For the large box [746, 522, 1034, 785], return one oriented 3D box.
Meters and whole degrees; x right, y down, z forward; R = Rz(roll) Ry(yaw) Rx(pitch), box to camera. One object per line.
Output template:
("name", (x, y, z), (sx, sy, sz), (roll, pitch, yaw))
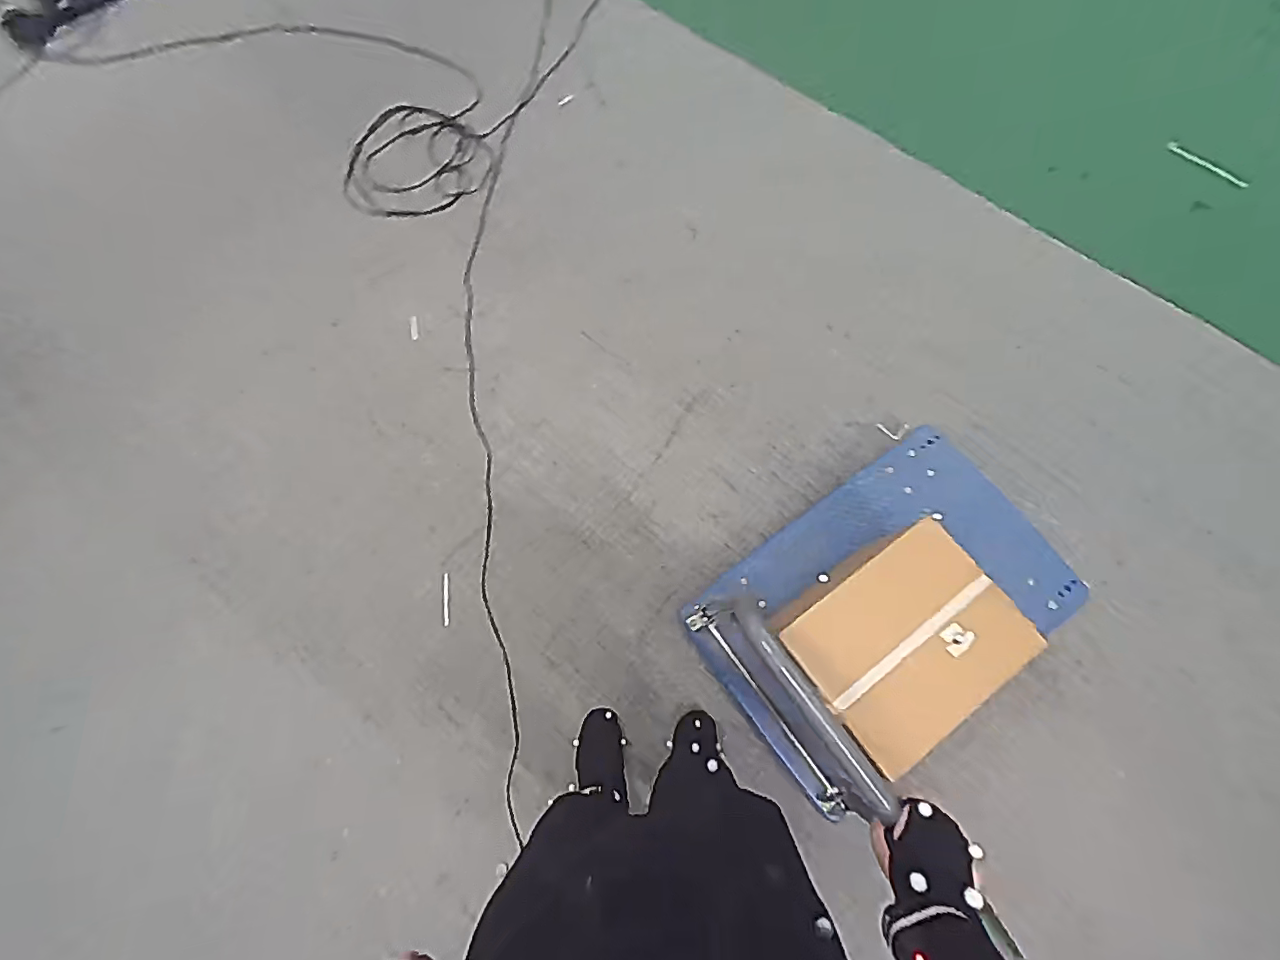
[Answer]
("large box", (0.497, 0.357, 1.158), (0.408, 0.320, 0.320), (-34, 76, -11))
